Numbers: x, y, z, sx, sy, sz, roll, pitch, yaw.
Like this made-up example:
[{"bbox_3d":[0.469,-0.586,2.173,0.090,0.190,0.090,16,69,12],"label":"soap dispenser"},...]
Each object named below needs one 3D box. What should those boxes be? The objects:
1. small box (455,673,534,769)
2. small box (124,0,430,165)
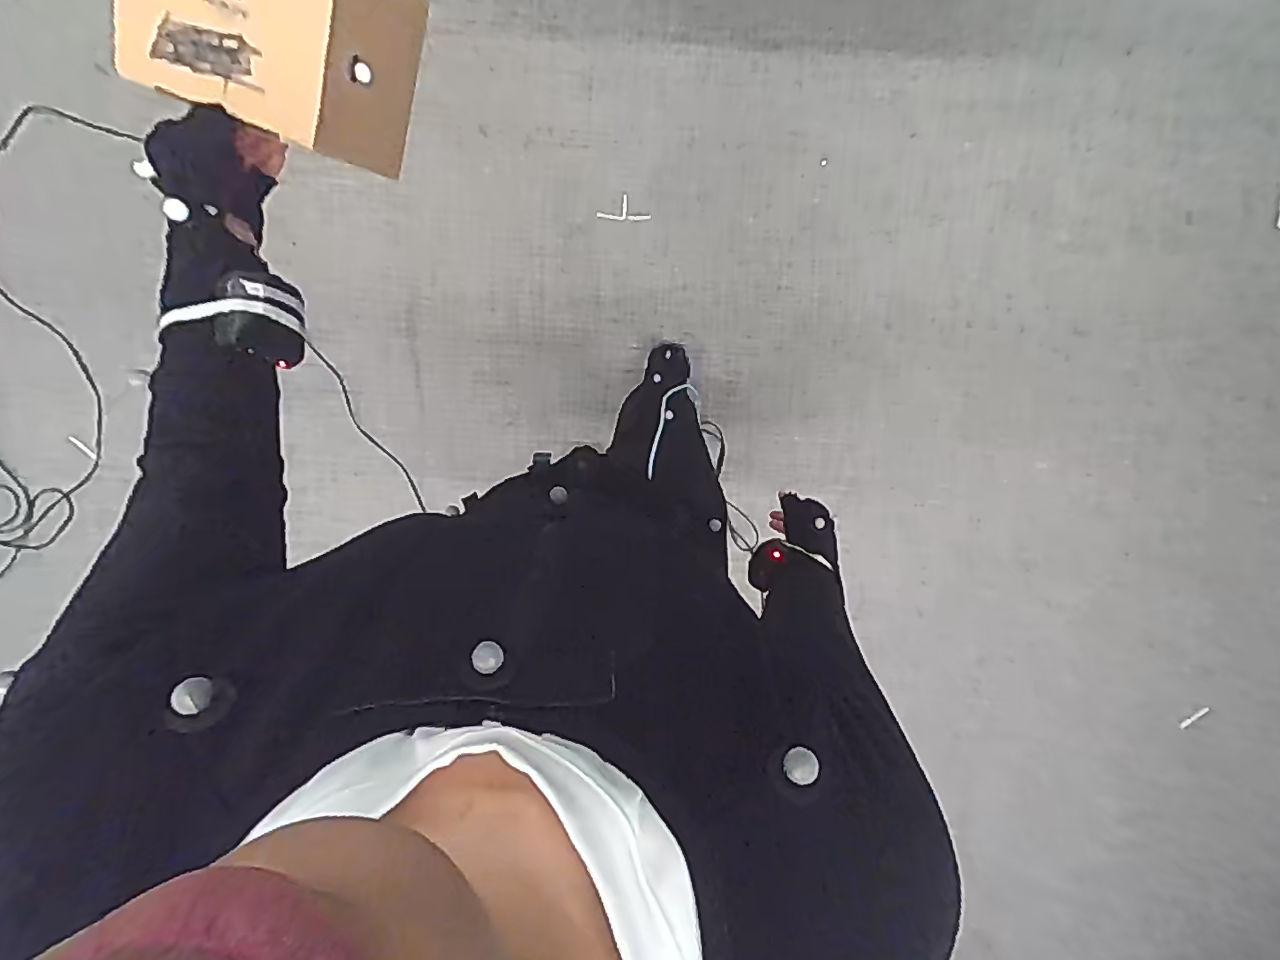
[{"bbox_3d":[-0.384,0.638,1.449,0.168,0.176,0.179,6,95,-2],"label":"small box"},{"bbox_3d":[-0.315,-0.420,0.498,0.168,0.176,0.179,20,111,-7],"label":"small box"}]
